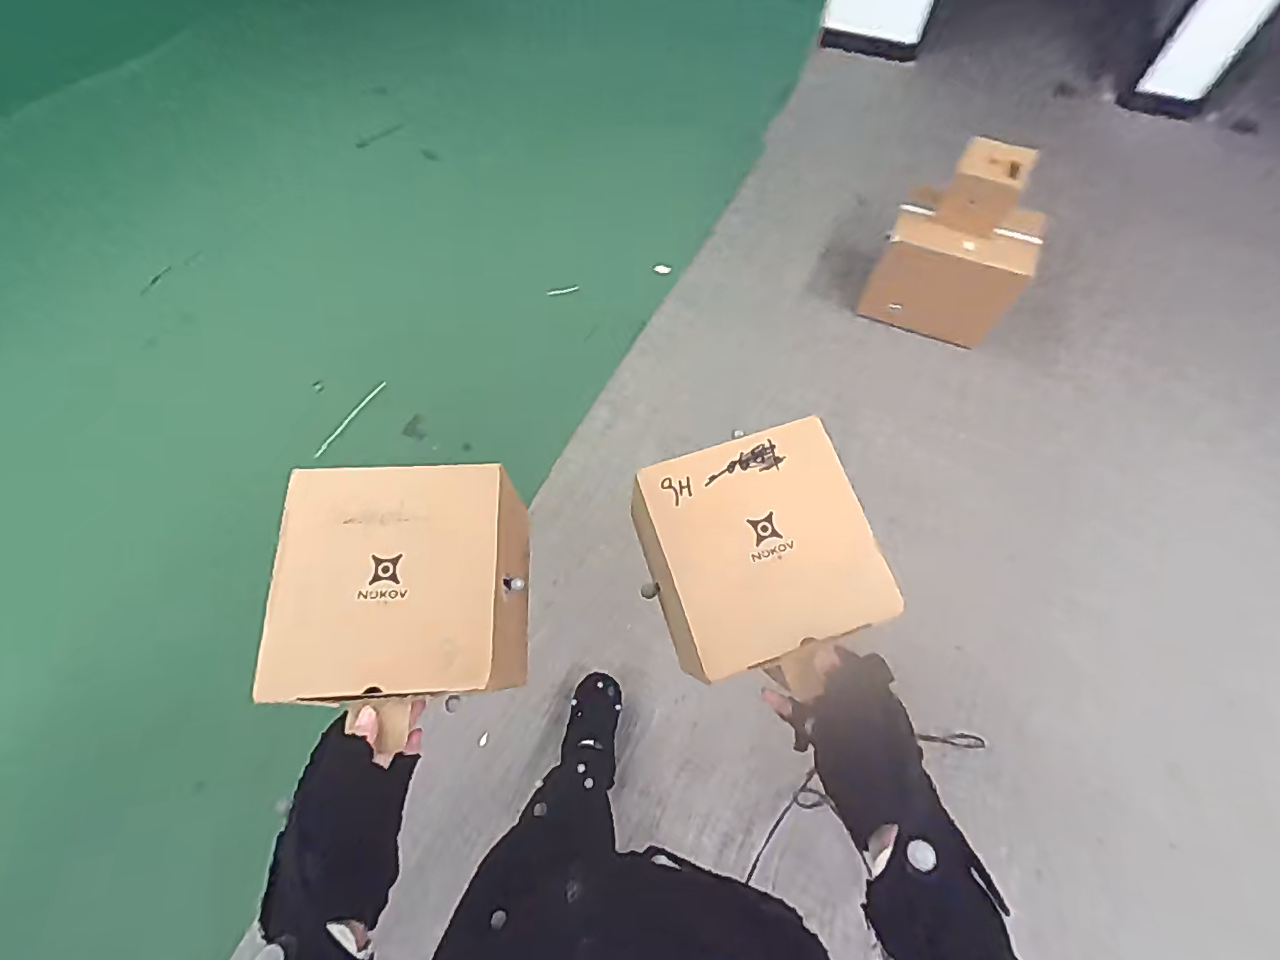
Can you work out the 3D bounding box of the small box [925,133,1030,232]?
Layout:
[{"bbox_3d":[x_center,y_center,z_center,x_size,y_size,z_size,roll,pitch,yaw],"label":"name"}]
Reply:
[{"bbox_3d":[0.969,-0.854,1.564,0.179,0.176,0.168,29,70,14],"label":"small box"}]

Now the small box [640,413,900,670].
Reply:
[{"bbox_3d":[0.102,0.062,0.515,0.168,0.176,0.179,-16,76,-7],"label":"small box"}]
